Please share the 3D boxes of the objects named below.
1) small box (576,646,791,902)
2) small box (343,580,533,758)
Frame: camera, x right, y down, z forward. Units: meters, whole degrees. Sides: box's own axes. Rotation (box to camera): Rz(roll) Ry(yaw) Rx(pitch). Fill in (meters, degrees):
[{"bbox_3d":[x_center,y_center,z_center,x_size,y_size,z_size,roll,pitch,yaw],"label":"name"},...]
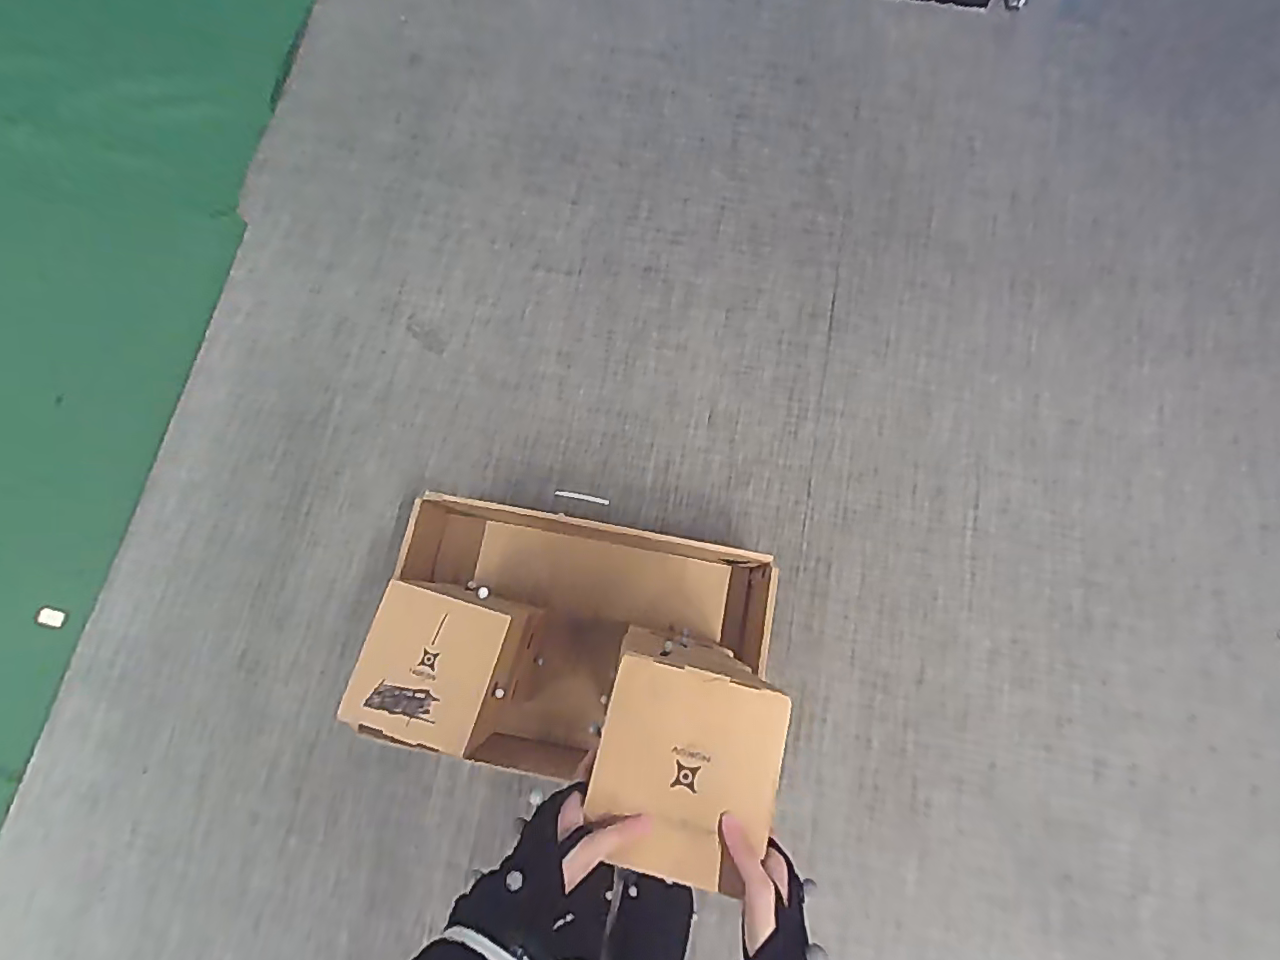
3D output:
[{"bbox_3d":[0.040,0.282,0.567,0.168,0.176,0.179,15,77,3],"label":"small box"},{"bbox_3d":[-0.260,0.248,0.746,0.168,0.176,0.179,17,77,3],"label":"small box"}]
